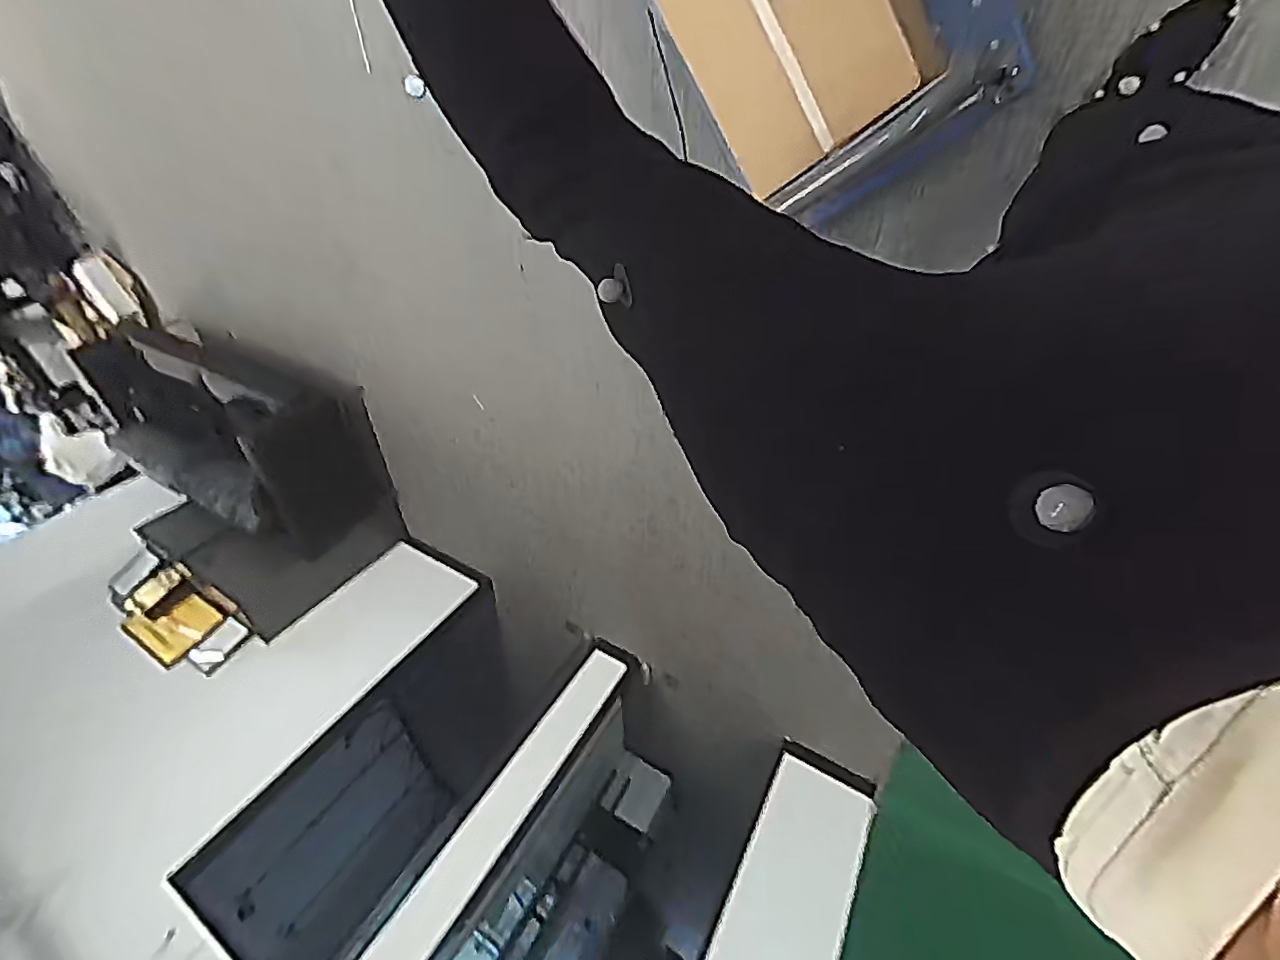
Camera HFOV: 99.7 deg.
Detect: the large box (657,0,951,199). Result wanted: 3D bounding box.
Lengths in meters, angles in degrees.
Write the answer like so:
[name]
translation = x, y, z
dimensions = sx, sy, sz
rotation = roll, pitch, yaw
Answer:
[large box]
translation = 0.313, -0.815, 0.995
dimensions = 0.320, 0.320, 0.408
rotation = -20, 108, 45
